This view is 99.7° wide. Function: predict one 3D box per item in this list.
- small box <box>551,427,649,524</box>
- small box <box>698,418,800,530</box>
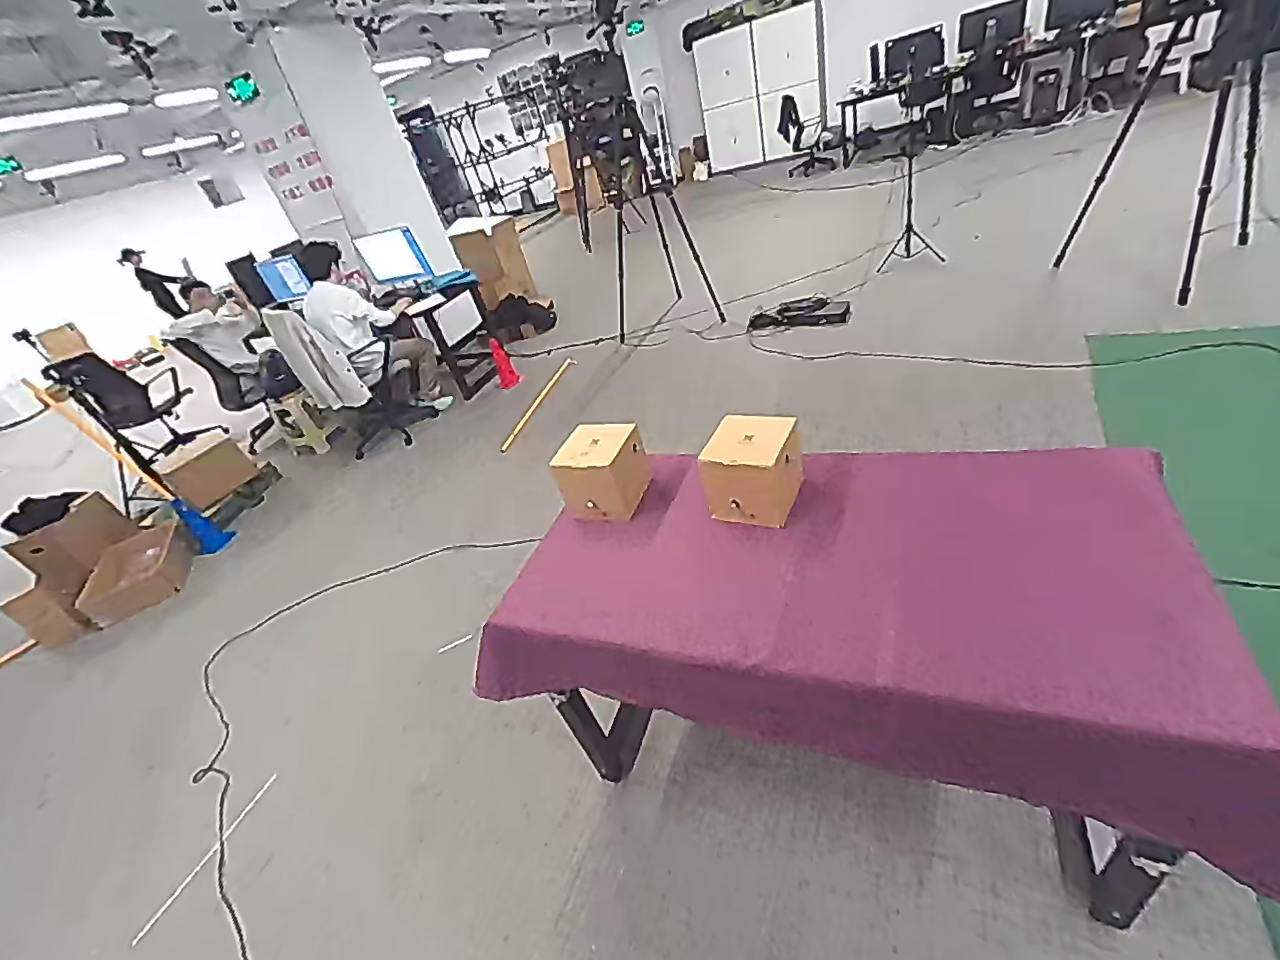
[{"bbox_3d":[-0.089,-0.014,1.338,0.168,0.176,0.179,1,39,26],"label":"small box"},{"bbox_3d":[0.248,-0.018,1.190,0.168,0.176,0.179,6,43,32],"label":"small box"}]
